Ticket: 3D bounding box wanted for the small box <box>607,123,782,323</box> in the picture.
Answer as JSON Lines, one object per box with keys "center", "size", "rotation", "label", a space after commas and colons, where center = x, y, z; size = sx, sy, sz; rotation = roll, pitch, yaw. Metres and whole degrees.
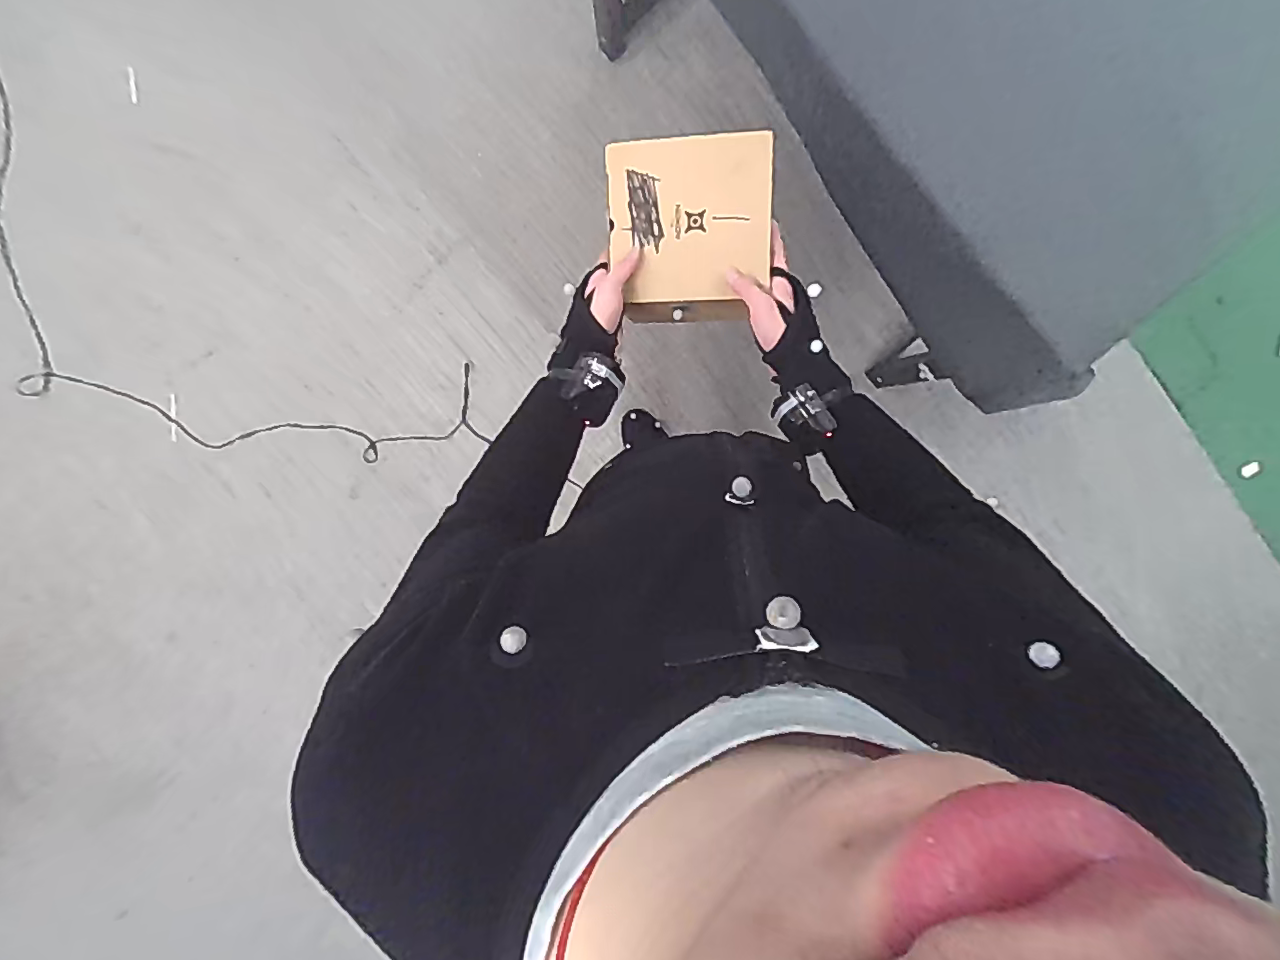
{"center": [0.063, -0.280, 0.628], "size": [0.179, 0.176, 0.168], "rotation": [-1, 98, 5], "label": "small box"}
